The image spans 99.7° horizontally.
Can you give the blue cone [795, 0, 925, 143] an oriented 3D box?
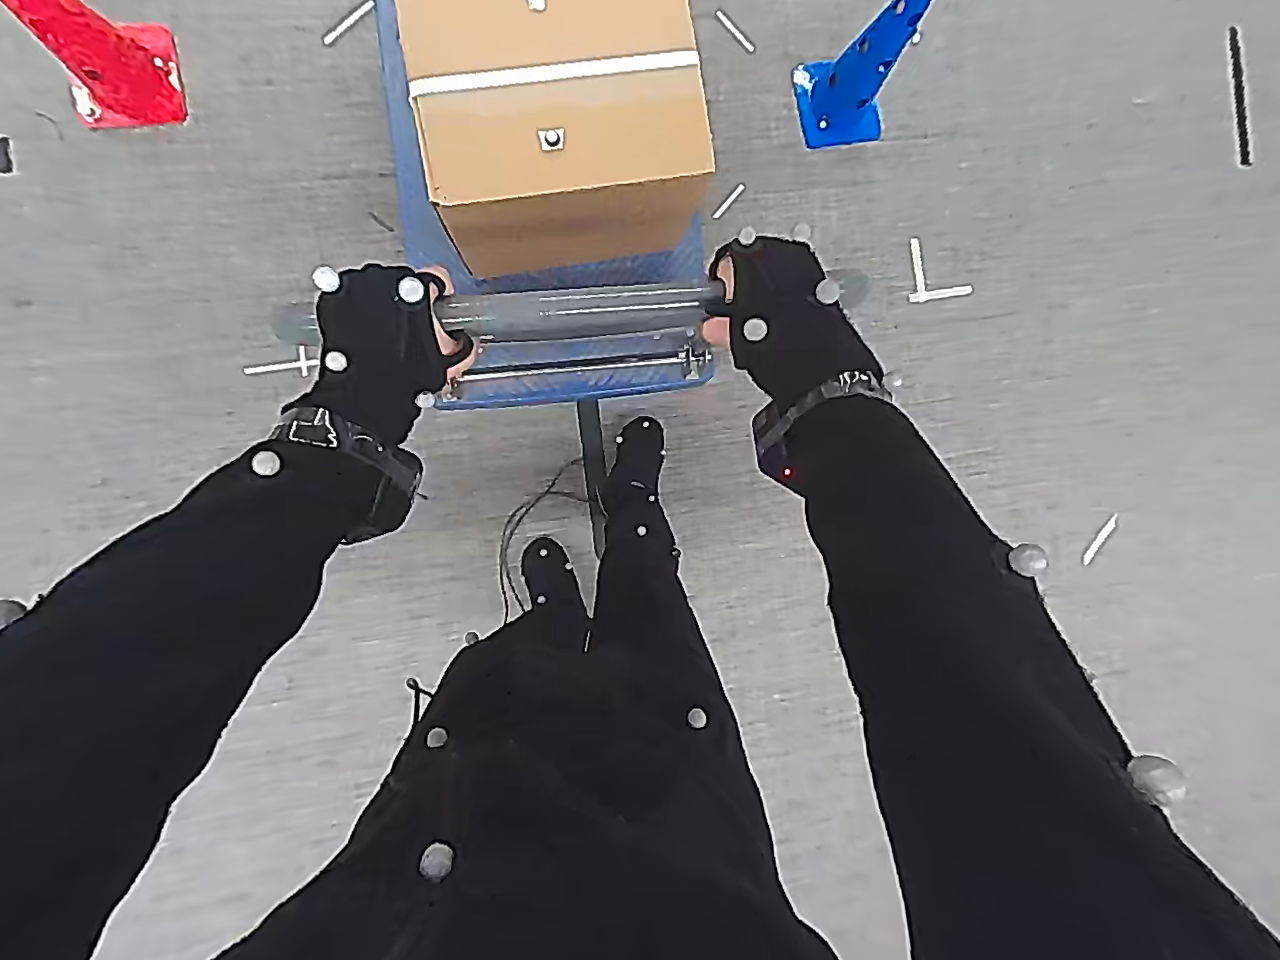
[{"bbox_3d":[0.498,-0.910,1.141,0.193,0.380,0.192,-12,92,-7],"label":"blue cone"}]
